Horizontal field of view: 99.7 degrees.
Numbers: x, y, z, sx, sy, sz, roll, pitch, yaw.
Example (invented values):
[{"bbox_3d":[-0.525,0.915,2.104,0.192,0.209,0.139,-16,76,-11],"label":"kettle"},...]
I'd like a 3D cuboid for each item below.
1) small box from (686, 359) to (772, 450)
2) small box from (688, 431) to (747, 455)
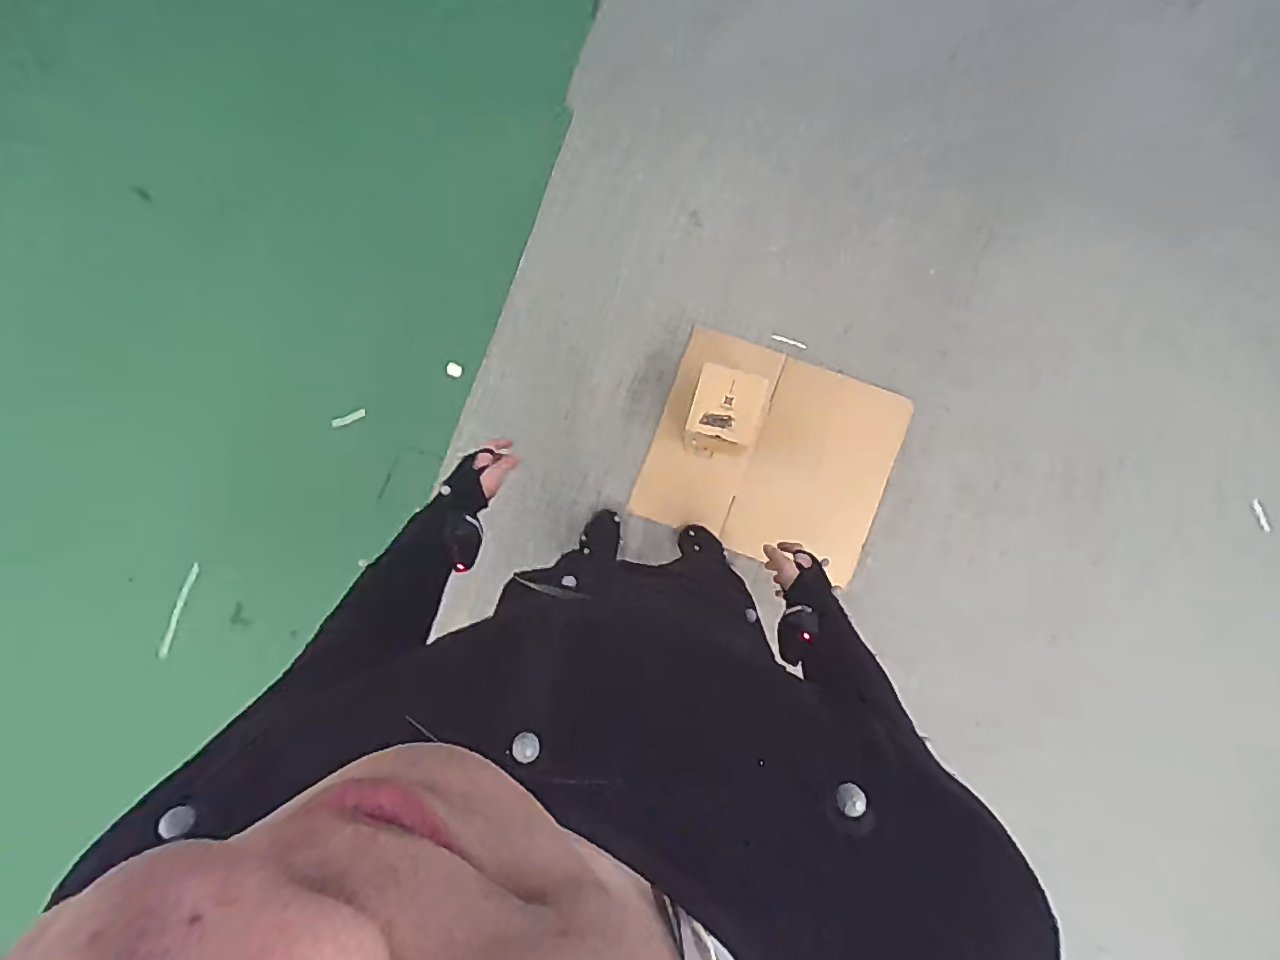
[{"bbox_3d":[0.220,-0.183,1.374,0.168,0.176,0.179,17,89,4],"label":"small box"},{"bbox_3d":[0.232,-0.177,1.537,0.168,0.176,0.179,14,89,4],"label":"small box"}]
